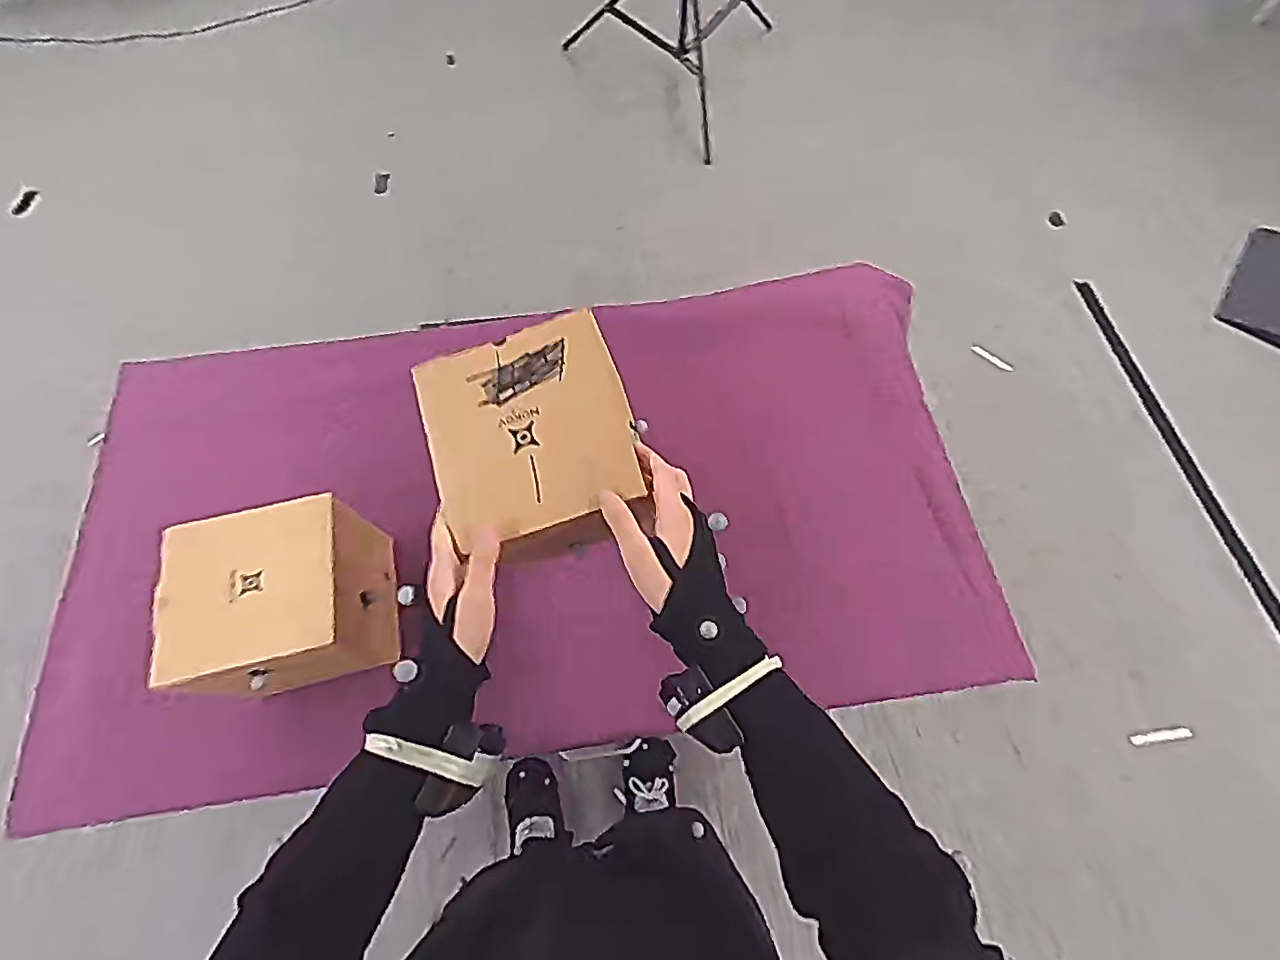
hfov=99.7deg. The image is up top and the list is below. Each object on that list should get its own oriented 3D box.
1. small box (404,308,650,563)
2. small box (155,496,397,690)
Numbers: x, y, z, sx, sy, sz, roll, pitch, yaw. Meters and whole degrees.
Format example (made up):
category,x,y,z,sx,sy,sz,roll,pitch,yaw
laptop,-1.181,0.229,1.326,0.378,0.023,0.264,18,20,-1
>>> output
category,x,y,z,sx,sy,sz,roll,pitch,yaw
small box,-0.096,-0.028,0.522,0.168,0.176,0.179,-18,77,3
small box,-0.398,0.138,0.626,0.179,0.176,0.168,-13,68,-5
